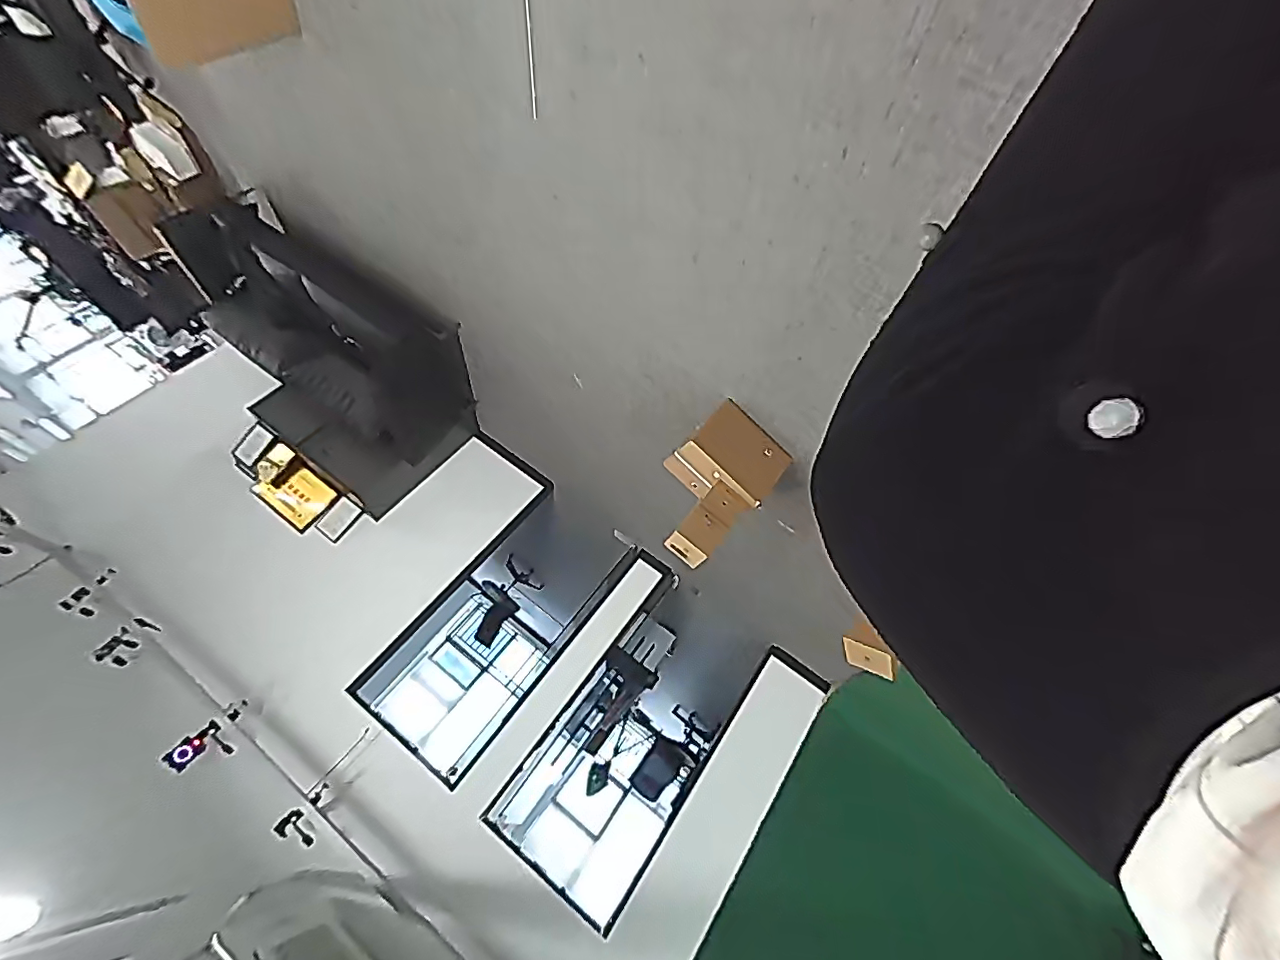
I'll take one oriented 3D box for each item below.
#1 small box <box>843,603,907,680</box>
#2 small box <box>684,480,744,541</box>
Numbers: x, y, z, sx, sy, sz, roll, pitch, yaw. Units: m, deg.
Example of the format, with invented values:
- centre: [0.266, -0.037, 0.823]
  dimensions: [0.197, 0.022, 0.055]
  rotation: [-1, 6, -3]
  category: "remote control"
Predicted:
- centre: [0.856, 0.582, 1.963]
  dimensions: [0.168, 0.176, 0.179]
  rotation: [15, 142, 39]
  category: "small box"
- centre: [0.326, 0.129, 2.345]
  dimensions: [0.168, 0.176, 0.179]
  rotation: [40, 151, 4]
  category: "small box"
